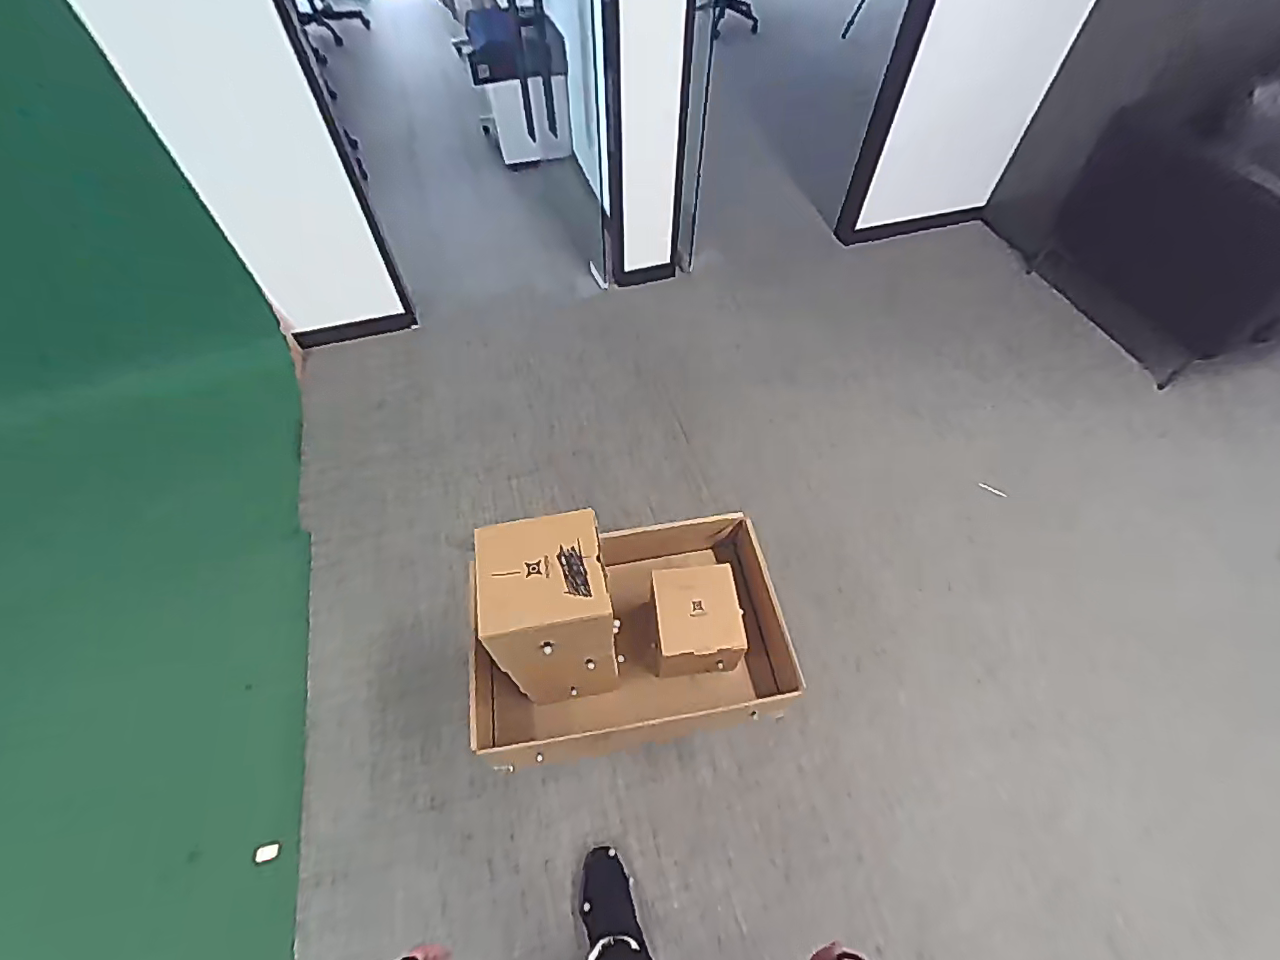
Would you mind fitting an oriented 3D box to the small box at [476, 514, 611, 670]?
[{"bbox_3d":[-0.140,0.174,0.821,0.179,0.176,0.168,-10,57,-5],"label":"small box"}]

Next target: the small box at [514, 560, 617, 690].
[{"bbox_3d":[-0.139,0.261,0.960,0.179,0.176,0.168,-7,57,-5],"label":"small box"}]
